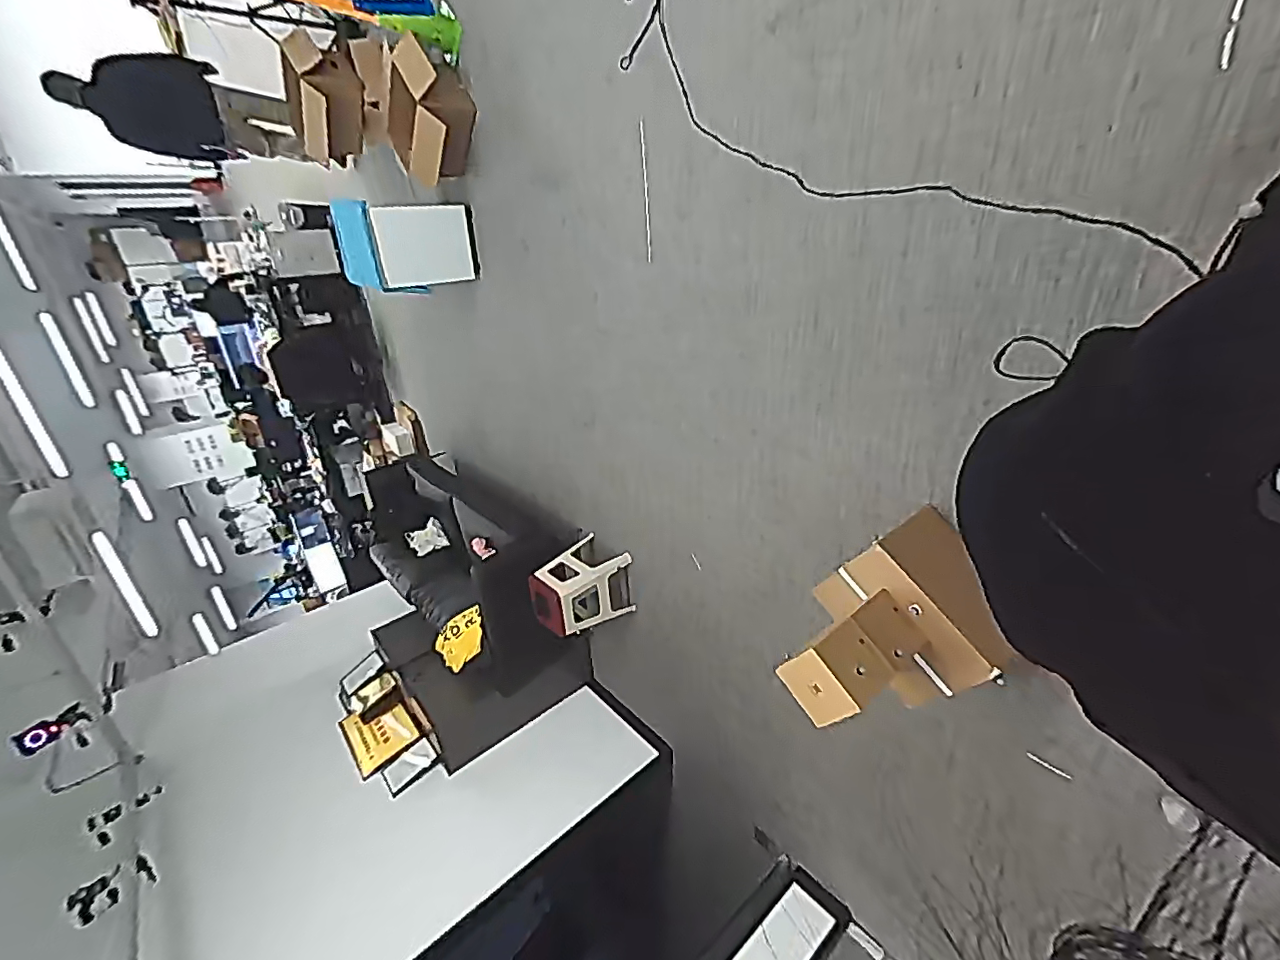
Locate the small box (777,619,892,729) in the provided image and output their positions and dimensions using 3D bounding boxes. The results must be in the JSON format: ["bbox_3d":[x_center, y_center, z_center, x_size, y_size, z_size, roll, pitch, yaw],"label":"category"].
[{"bbox_3d":[0.478,0.468,1.316,0.168,0.176,0.179,53,144,20],"label":"small box"}]
